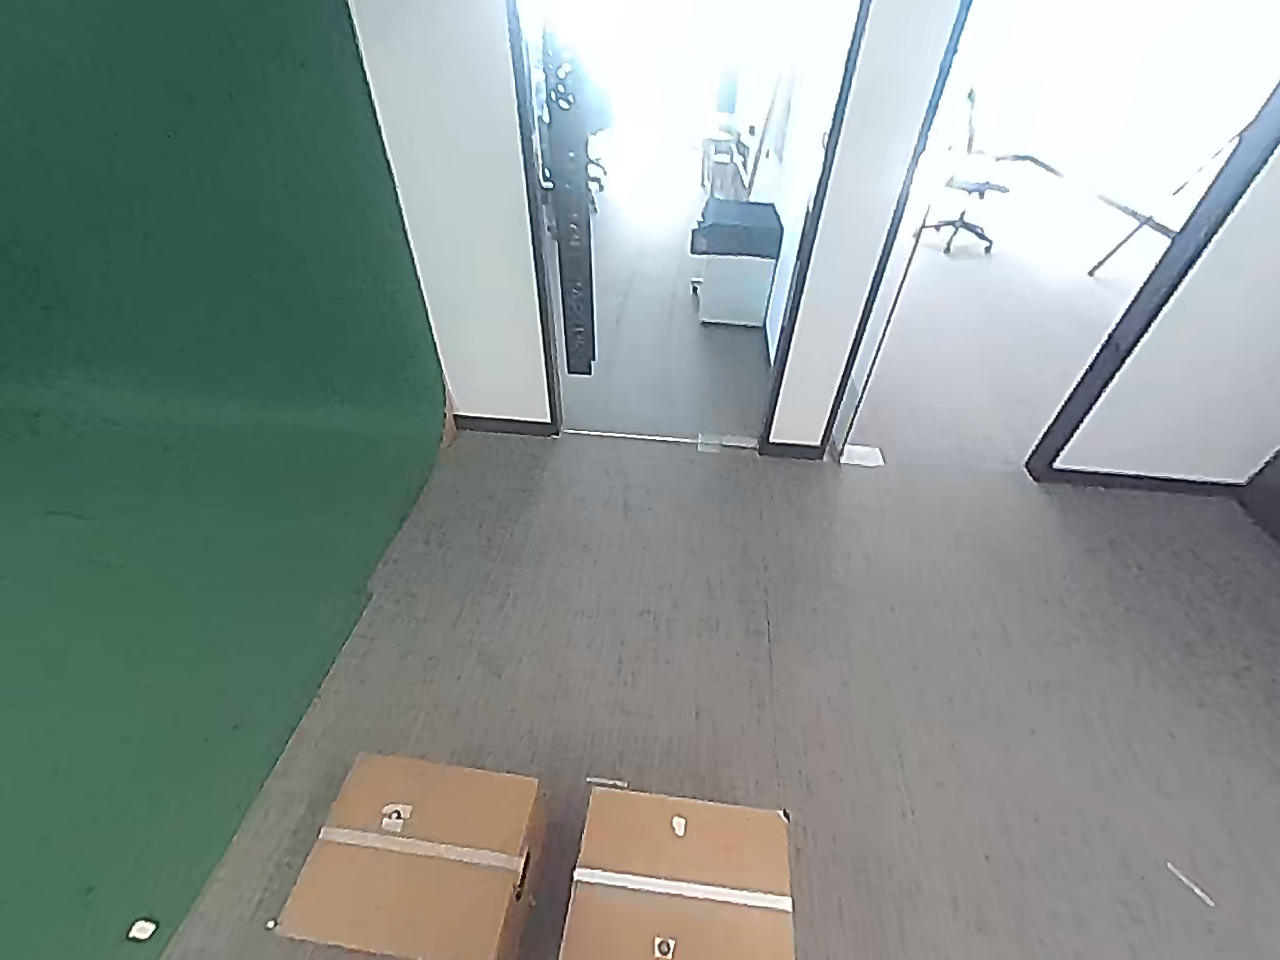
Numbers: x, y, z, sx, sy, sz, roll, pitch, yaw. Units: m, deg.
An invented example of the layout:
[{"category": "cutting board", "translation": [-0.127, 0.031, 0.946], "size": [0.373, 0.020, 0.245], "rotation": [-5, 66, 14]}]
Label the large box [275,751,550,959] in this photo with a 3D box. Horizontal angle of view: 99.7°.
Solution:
[{"category": "large box", "translation": [-0.432, 0.816, 1.148], "size": [0.408, 0.320, 0.320], "rotation": [5, 42, 5]}]
